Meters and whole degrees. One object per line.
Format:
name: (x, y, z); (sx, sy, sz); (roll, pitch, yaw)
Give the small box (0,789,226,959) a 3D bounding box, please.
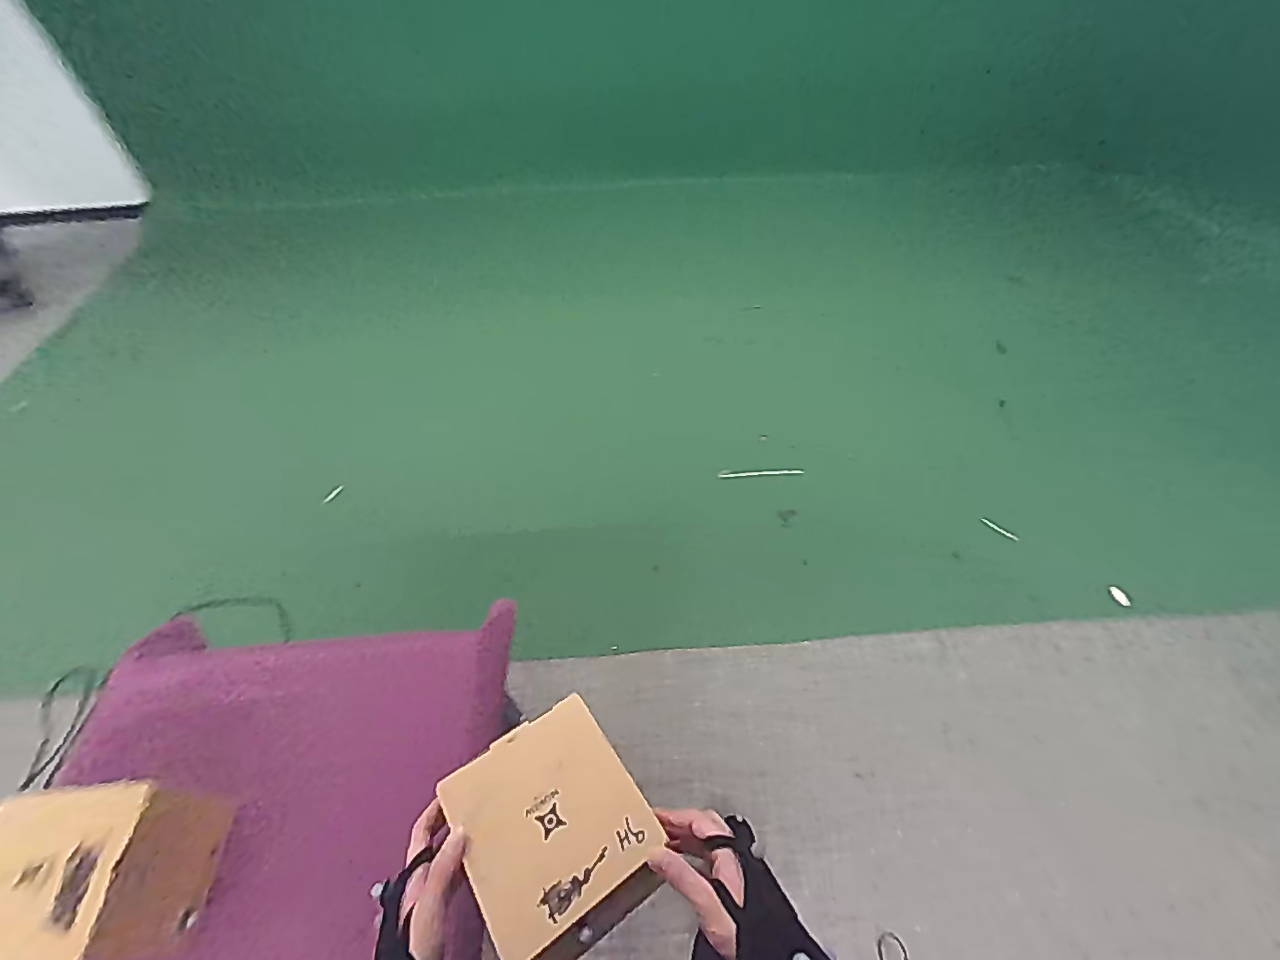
small box: (-0.654, 0.479, 0.645); (0.179, 0.176, 0.168); (-5, 52, 0)
